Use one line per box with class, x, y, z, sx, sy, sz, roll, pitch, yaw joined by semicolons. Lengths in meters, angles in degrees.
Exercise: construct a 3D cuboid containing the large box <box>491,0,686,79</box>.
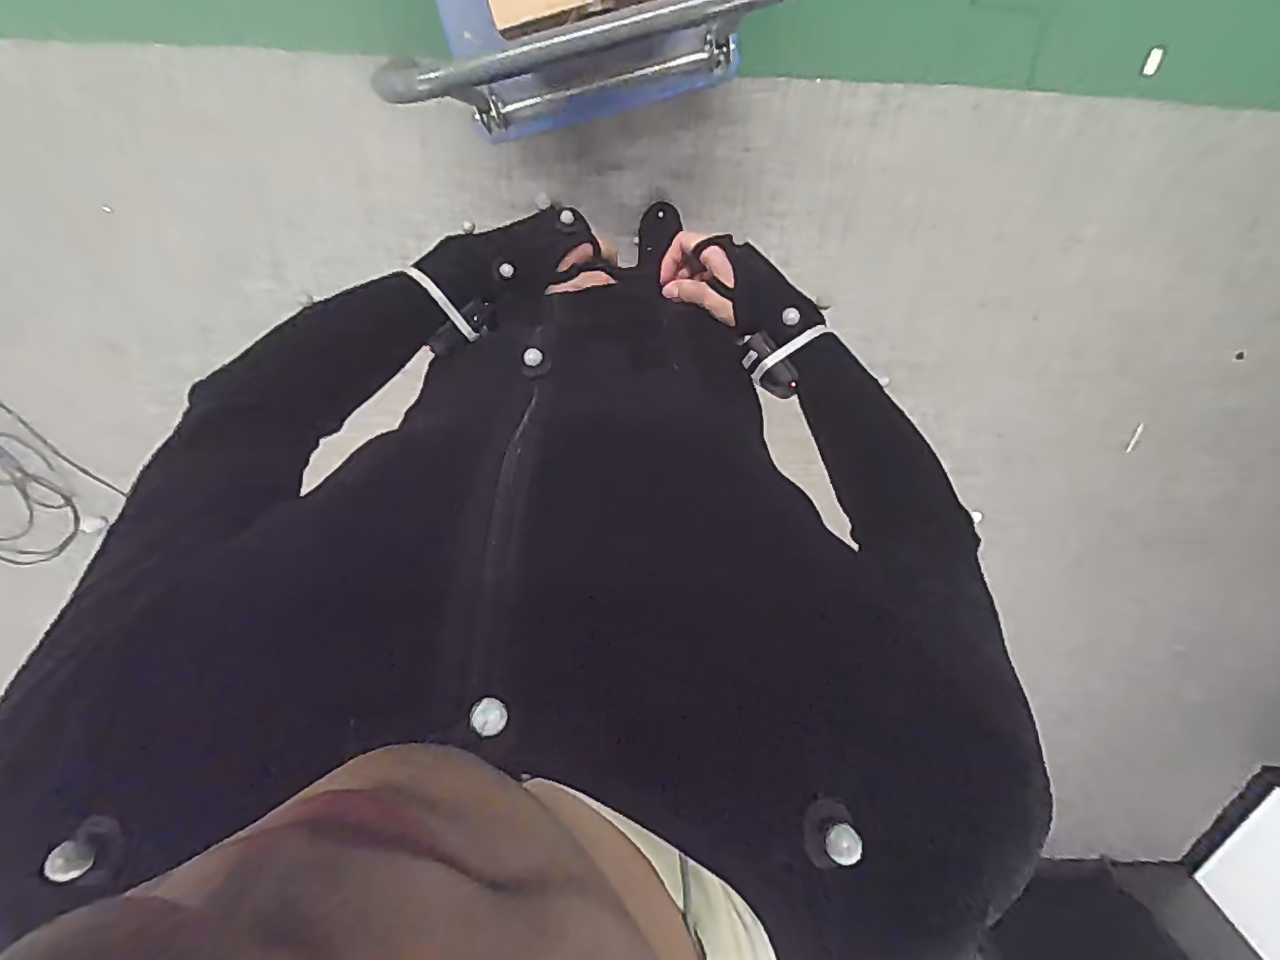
large box;-0.113;-0.968;0.891;0.320;0.320;0.408;-12;116;6
